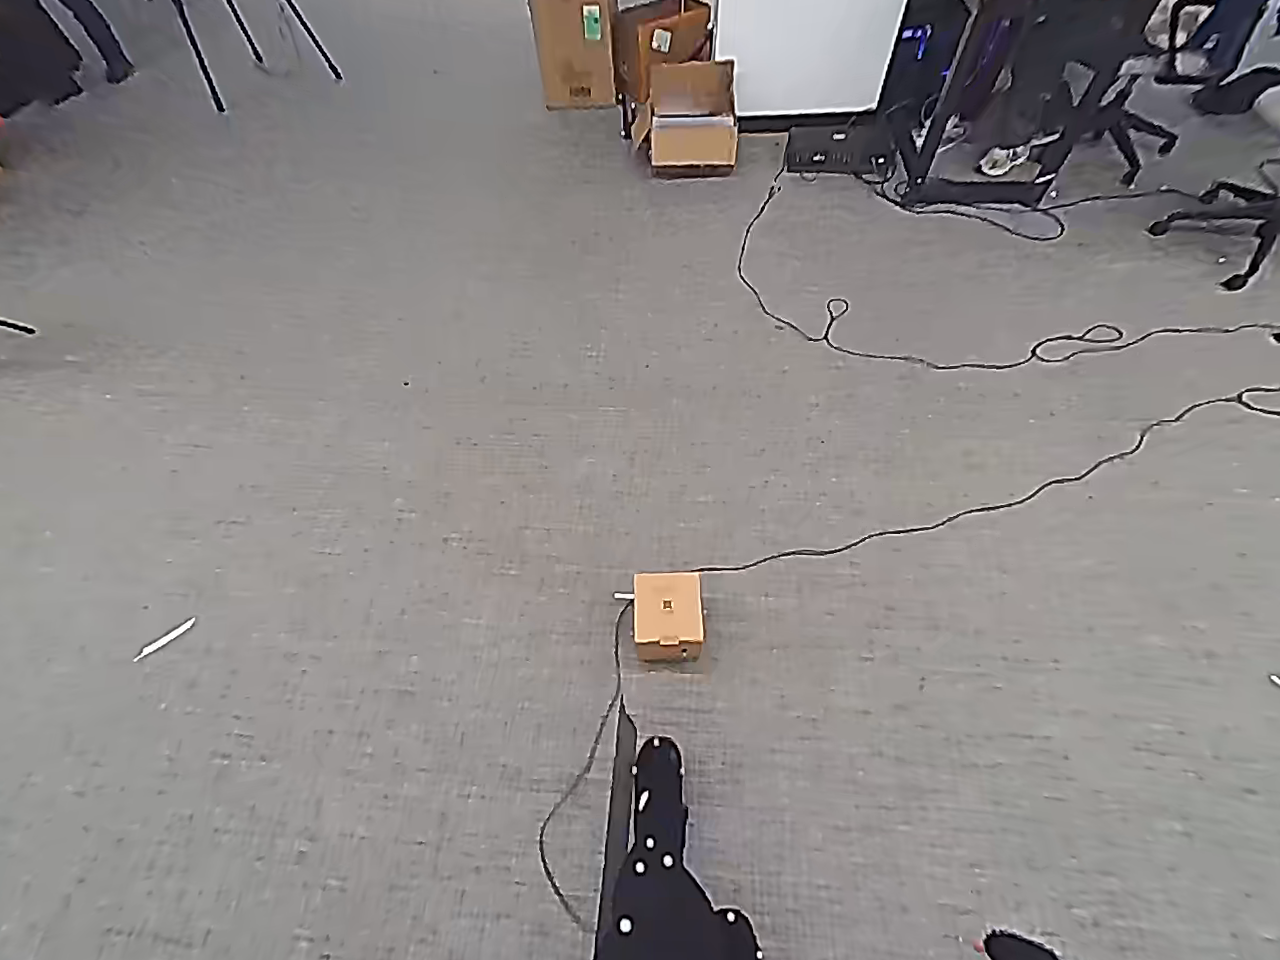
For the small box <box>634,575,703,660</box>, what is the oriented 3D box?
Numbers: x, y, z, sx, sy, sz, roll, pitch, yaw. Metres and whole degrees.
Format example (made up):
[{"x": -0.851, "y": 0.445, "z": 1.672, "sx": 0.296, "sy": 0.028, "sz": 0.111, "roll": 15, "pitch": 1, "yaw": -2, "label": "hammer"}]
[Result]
[{"x": 0.073, "y": 0.357, "z": 1.385, "sx": 0.168, "sy": 0.176, "sz": 0.179, "roll": -2, "pitch": 57, "yaw": 2, "label": "small box"}]
